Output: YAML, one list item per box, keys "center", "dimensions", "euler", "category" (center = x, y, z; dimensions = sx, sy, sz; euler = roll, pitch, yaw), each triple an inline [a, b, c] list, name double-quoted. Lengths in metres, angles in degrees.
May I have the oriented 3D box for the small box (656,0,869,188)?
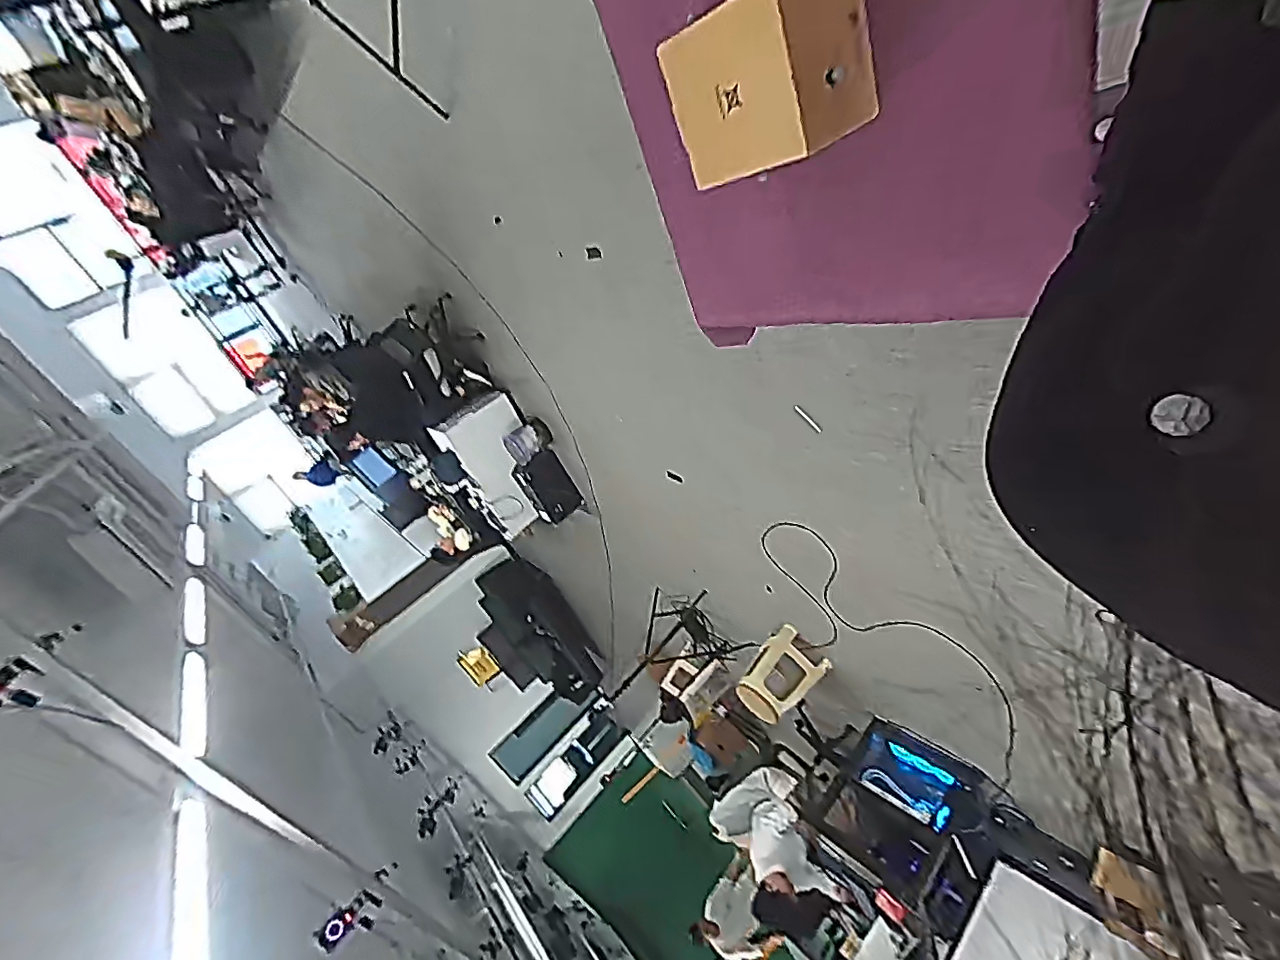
- center: [0.157, -0.489, 0.658]
  dimensions: [0.179, 0.176, 0.168]
  euler: [17, 140, 51]
  category: "small box"
